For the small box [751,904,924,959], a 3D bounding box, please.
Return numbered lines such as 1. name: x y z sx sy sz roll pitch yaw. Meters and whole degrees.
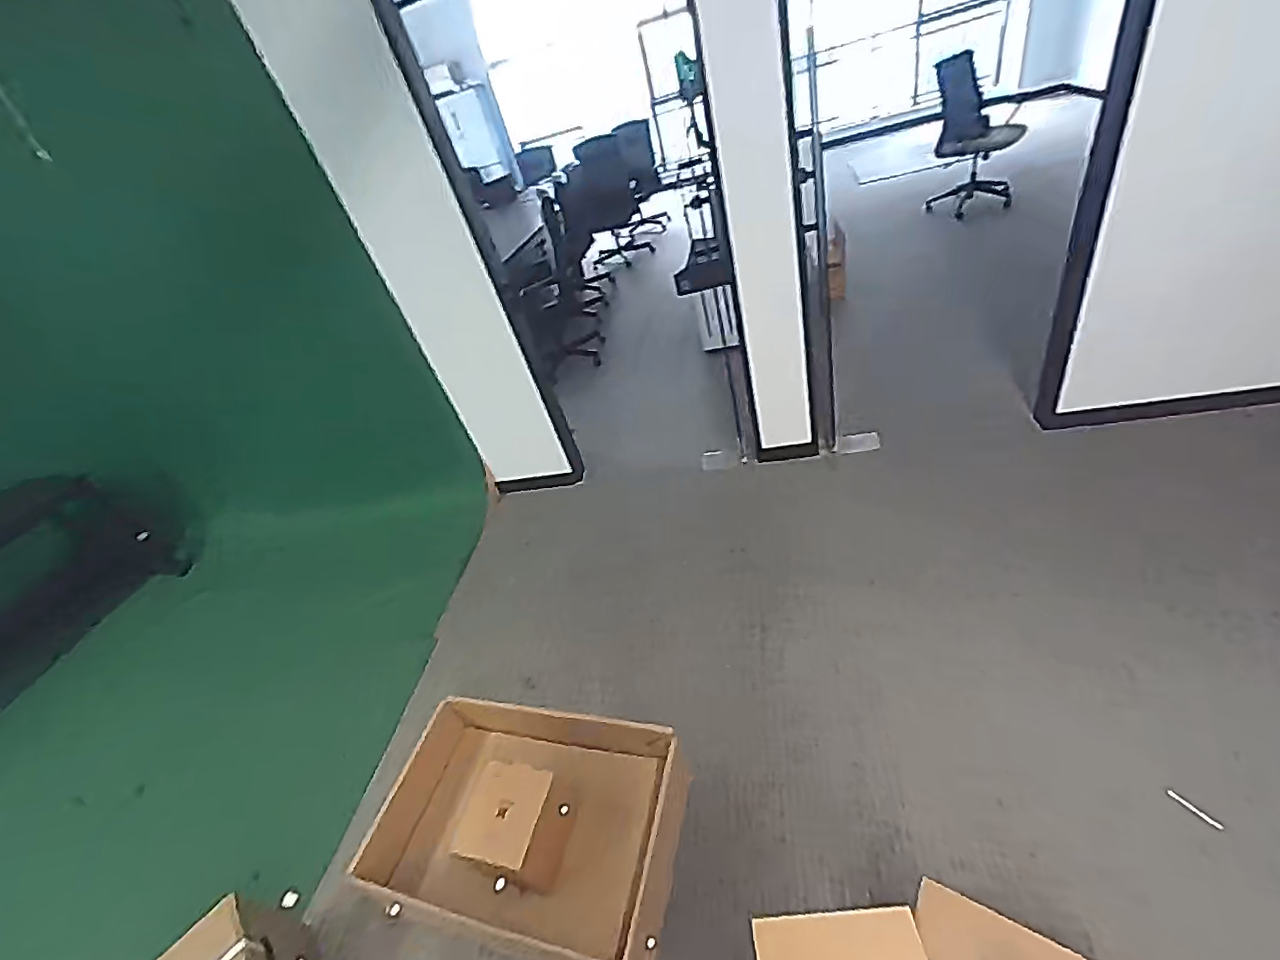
1. small box: 0.211 0.564 0.544 0.168 0.176 0.179 -10 37 6
